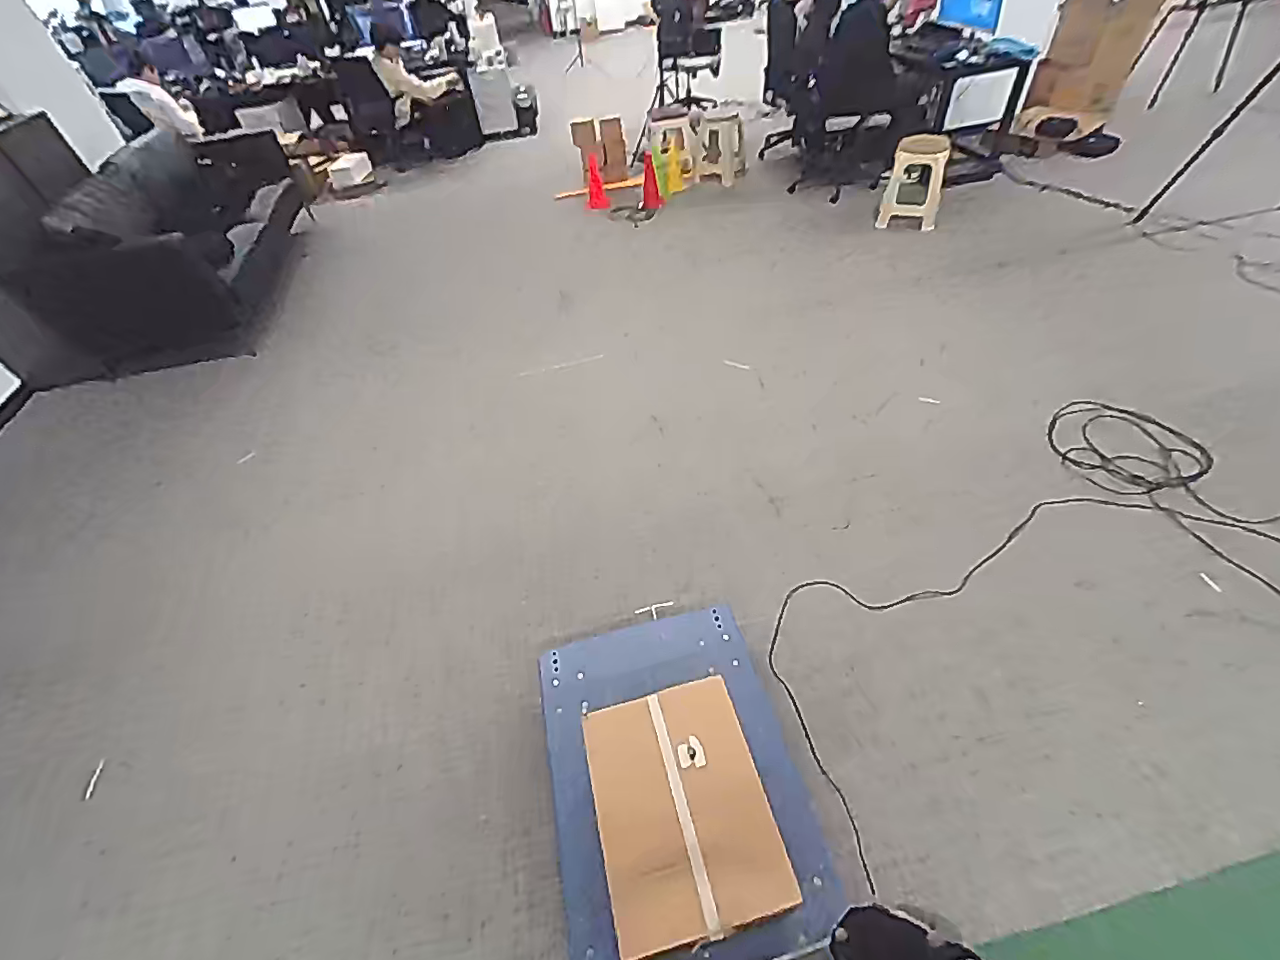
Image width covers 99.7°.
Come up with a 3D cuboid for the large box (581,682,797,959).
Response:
[{"bbox_3d":[0.088,0.709,1.123,0.320,0.320,0.408,-14,46,-5],"label":"large box"}]
